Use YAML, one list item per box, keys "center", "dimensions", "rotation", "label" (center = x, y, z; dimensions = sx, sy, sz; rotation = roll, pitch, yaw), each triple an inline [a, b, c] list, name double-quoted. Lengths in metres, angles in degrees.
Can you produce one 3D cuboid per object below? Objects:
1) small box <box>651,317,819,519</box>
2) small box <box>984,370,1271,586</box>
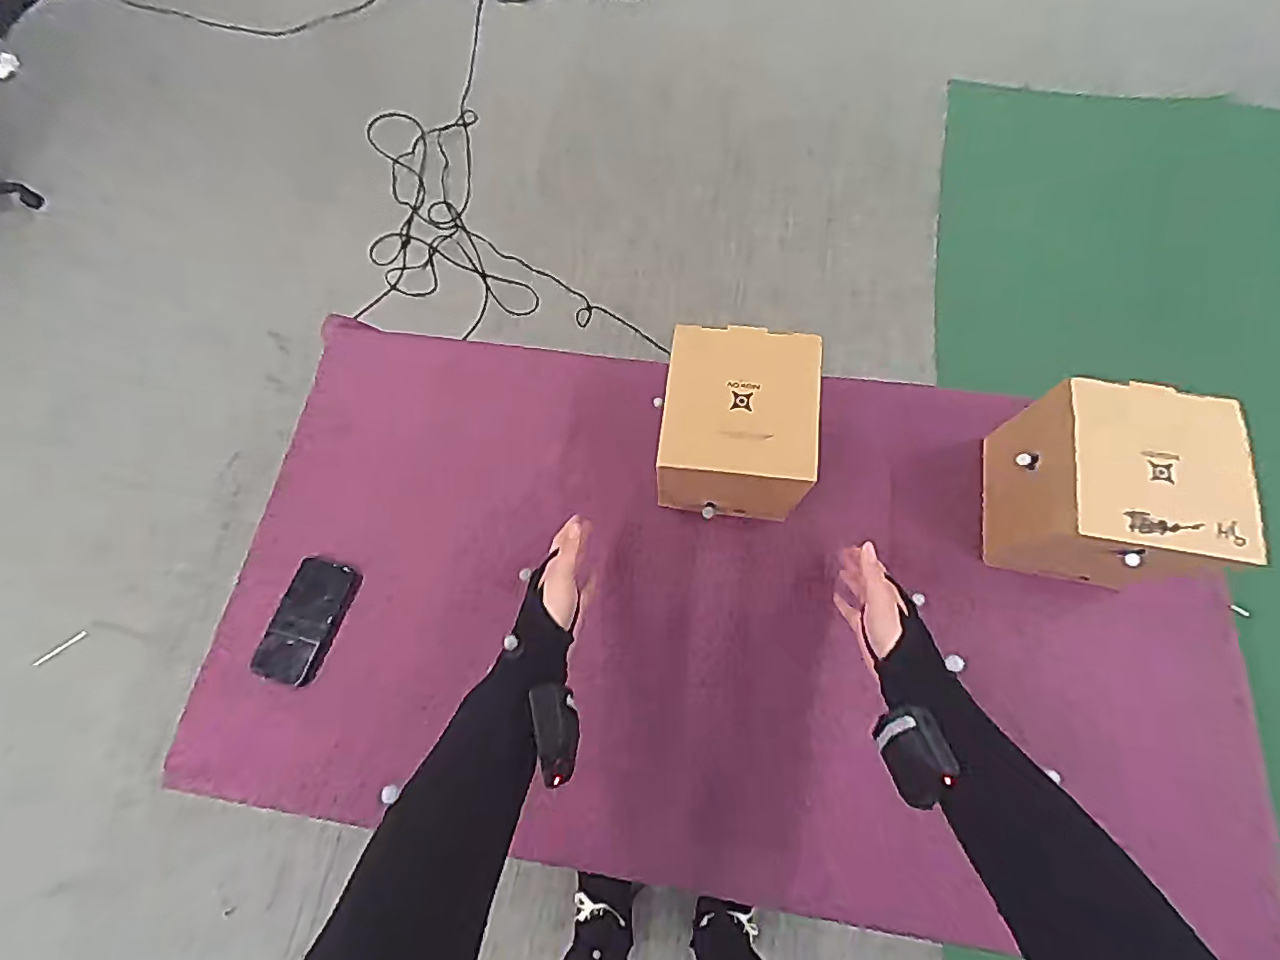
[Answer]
- center: [0.107, -0.066, 0.645]
  dimensions: [0.168, 0.176, 0.179]
  rotation: [6, 72, 6]
  label: "small box"
- center: [0.509, 0.006, 0.598]
  dimensions: [0.168, 0.176, 0.179]
  rotation: [10, 71, 7]
  label: "small box"
